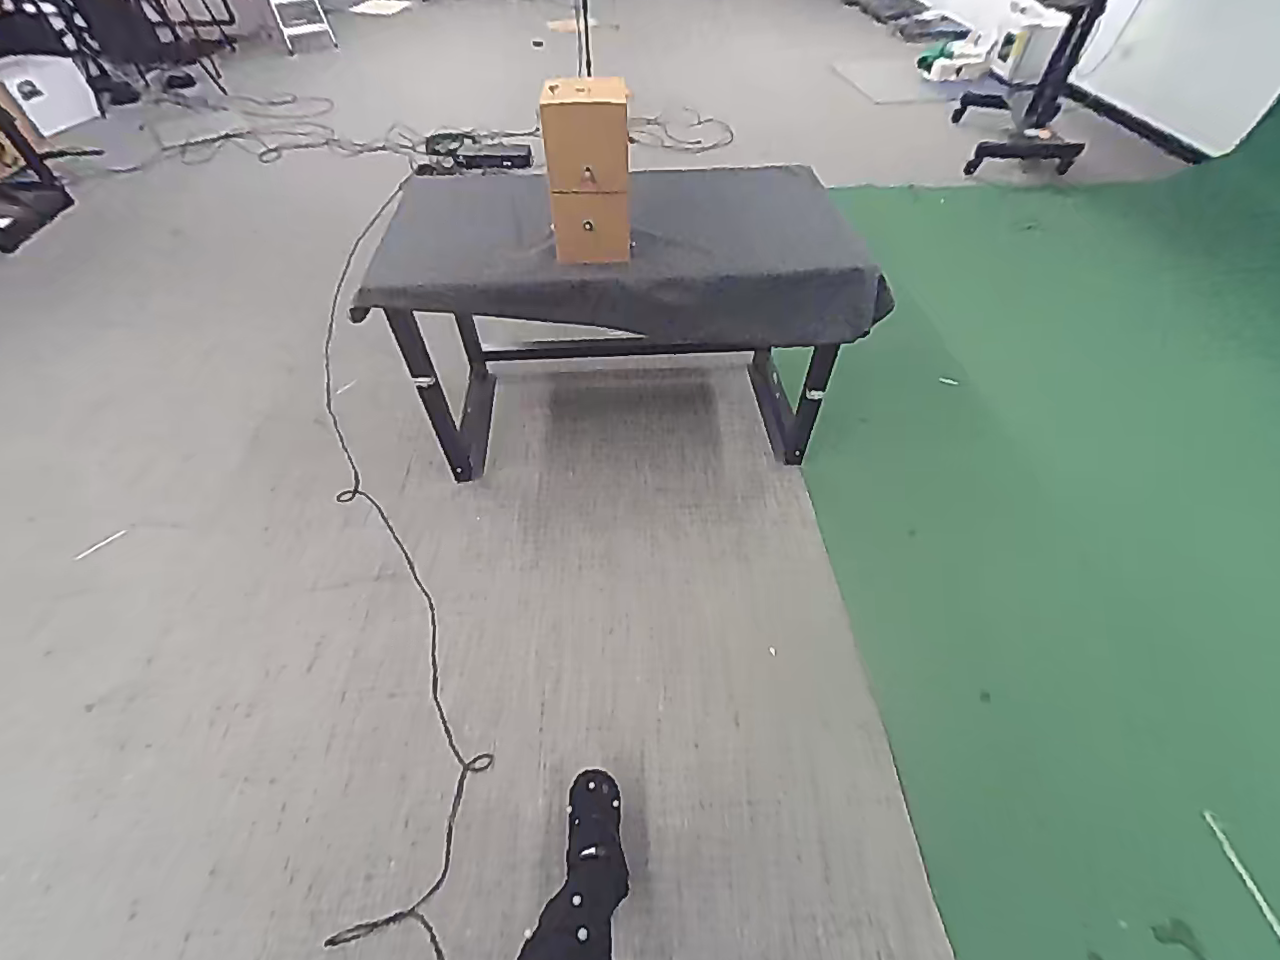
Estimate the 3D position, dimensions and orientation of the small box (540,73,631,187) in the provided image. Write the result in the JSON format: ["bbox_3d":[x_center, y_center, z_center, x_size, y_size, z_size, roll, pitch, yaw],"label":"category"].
[{"bbox_3d":[-0.109,-0.747,1.160,0.179,0.176,0.168,-1,50,-1],"label":"small box"}]

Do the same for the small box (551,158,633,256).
[{"bbox_3d":[-0.107,-0.649,1.288,0.179,0.176,0.168,1,49,1],"label":"small box"}]
